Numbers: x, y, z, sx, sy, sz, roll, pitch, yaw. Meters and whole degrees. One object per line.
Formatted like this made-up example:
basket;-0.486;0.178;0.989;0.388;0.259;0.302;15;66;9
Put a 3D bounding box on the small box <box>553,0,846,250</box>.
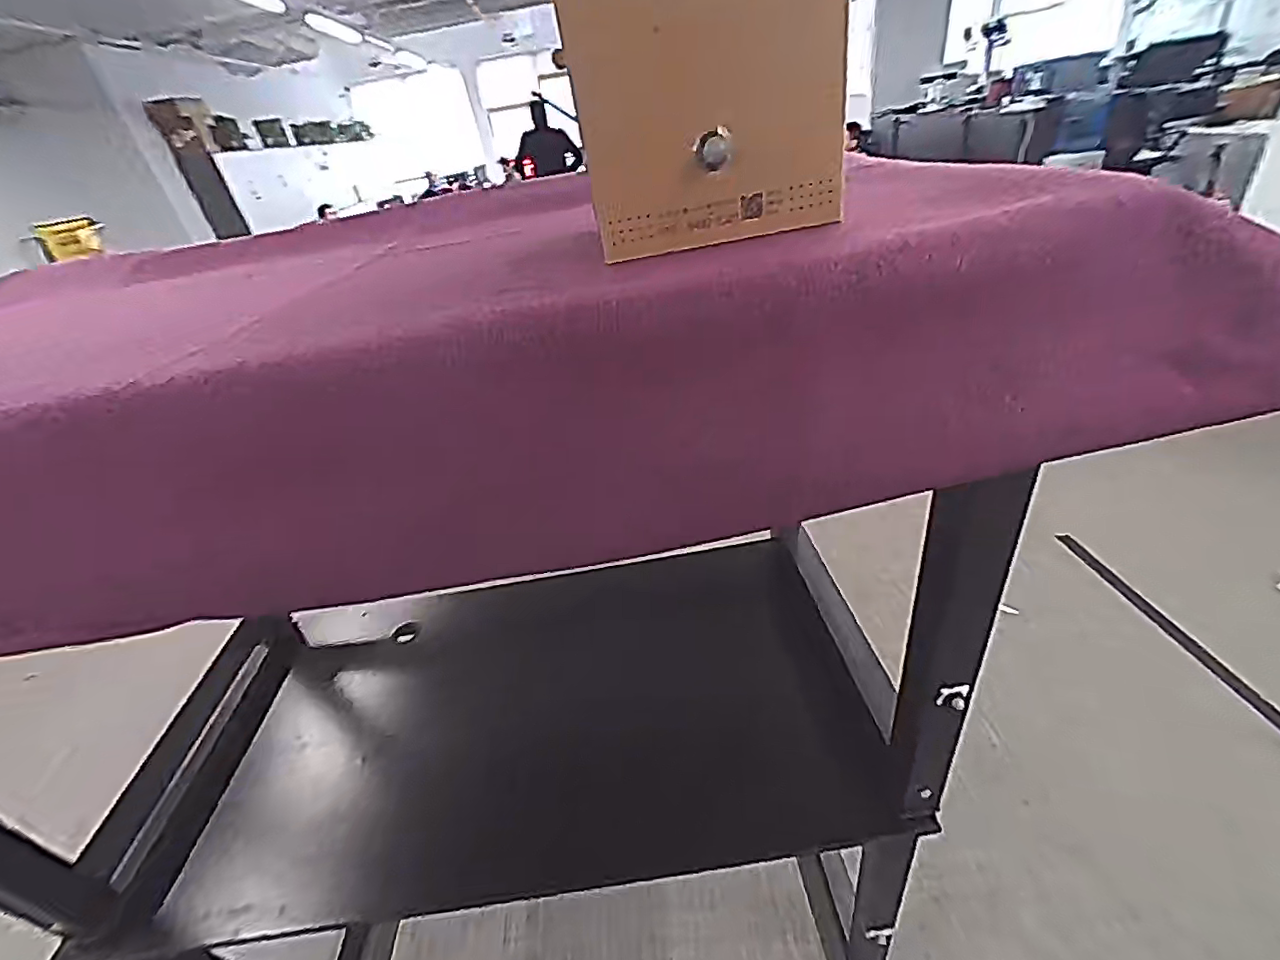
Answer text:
small box;0.037;-0.276;0.391;0.168;0.176;0.179;-9;33;4
